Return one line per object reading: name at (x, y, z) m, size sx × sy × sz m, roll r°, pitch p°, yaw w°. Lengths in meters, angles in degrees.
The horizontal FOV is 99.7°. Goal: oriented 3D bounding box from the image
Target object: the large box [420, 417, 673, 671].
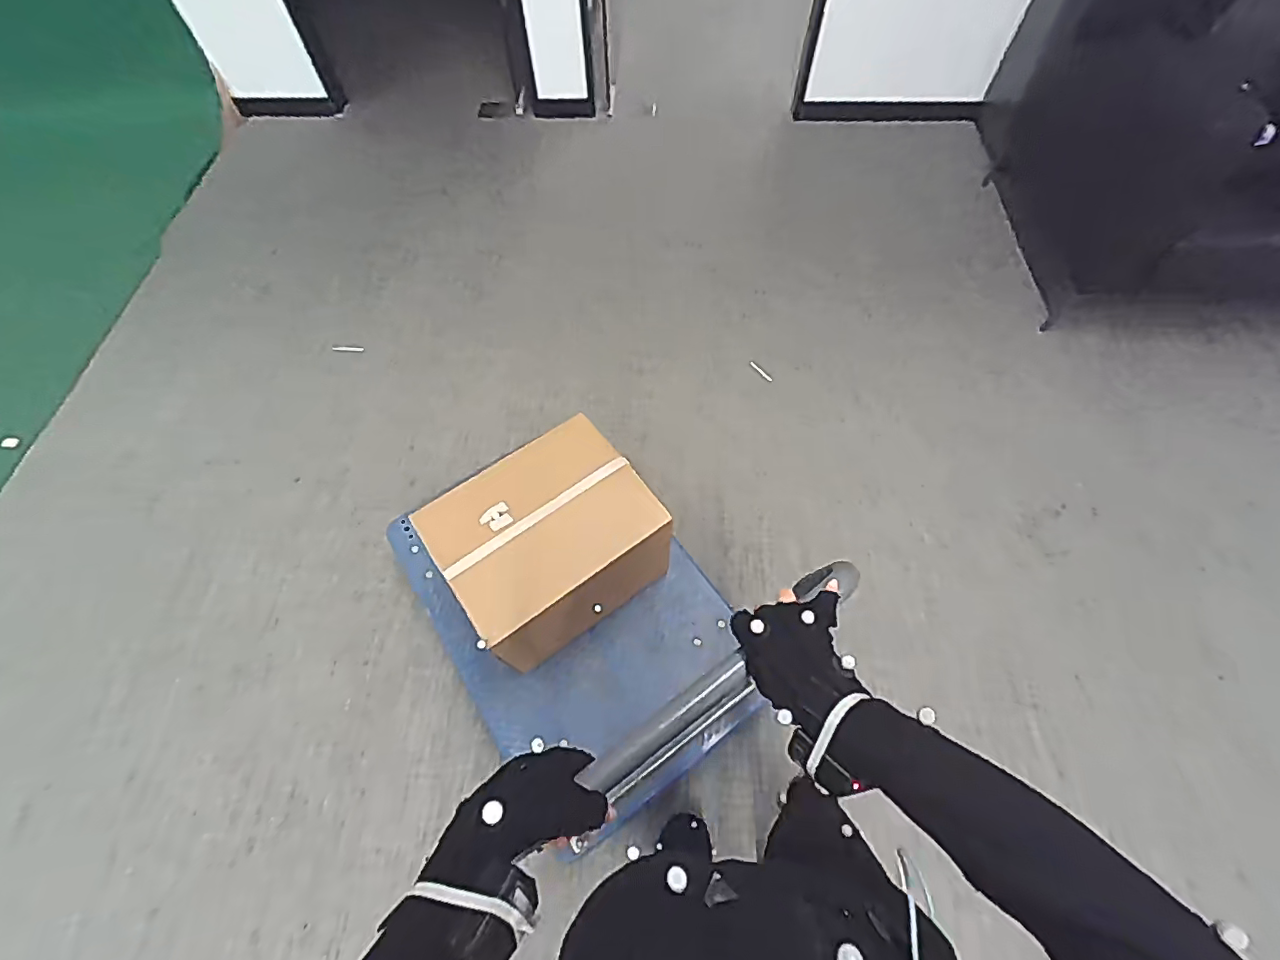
large box at (-0.177, 0.146, 1.171) m, size 0.408 × 0.320 × 0.320 m, roll -35°, pitch 66°, yaw -16°
